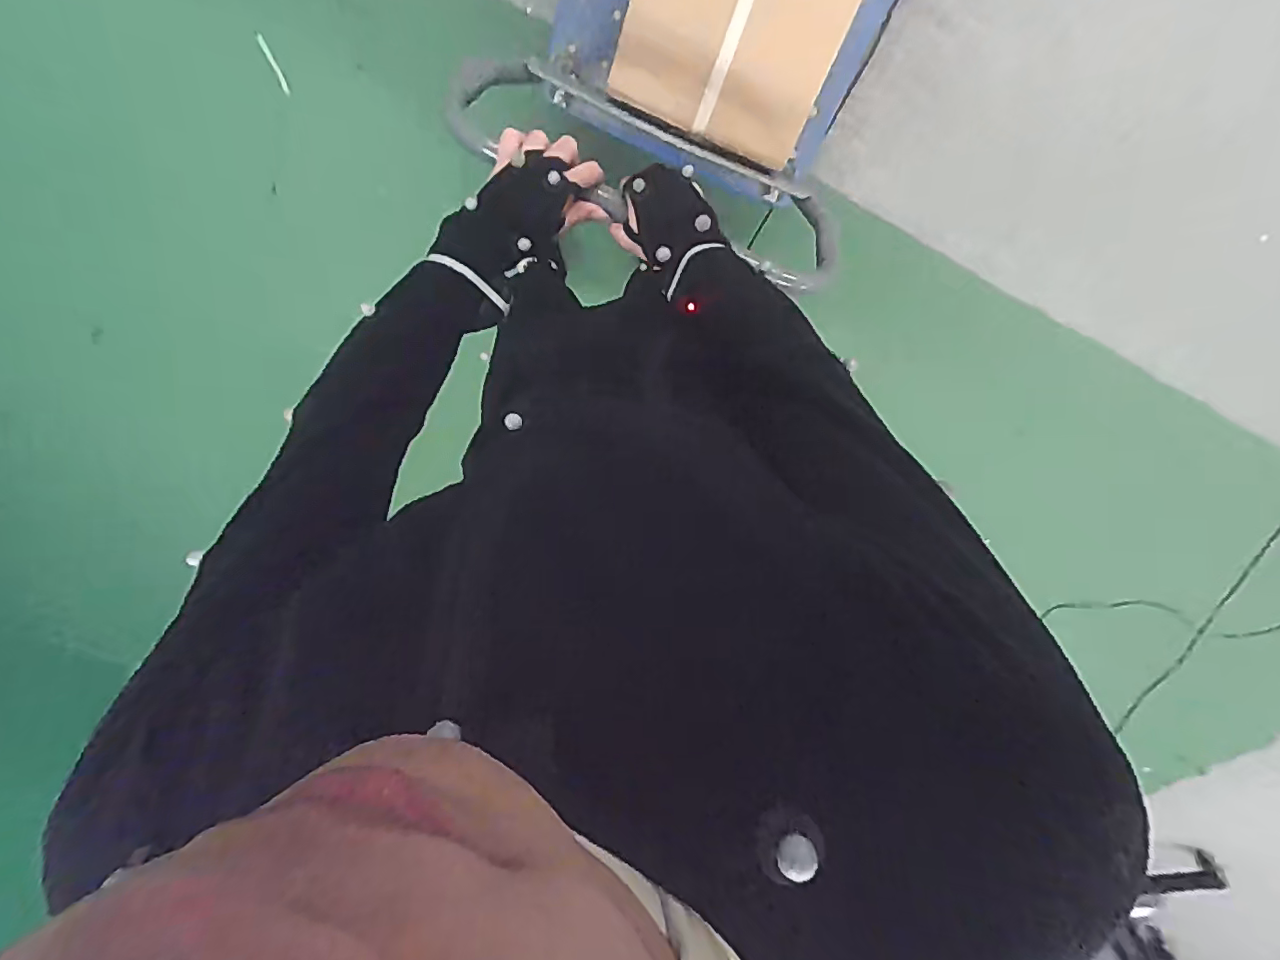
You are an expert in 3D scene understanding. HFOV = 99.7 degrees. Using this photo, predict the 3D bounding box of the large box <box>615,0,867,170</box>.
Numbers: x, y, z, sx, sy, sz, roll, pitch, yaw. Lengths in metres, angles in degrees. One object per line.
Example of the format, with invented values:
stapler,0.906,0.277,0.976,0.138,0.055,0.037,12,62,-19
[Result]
large box,0.179,-0.785,0.885,0.320,0.320,0.408,20,122,-8
